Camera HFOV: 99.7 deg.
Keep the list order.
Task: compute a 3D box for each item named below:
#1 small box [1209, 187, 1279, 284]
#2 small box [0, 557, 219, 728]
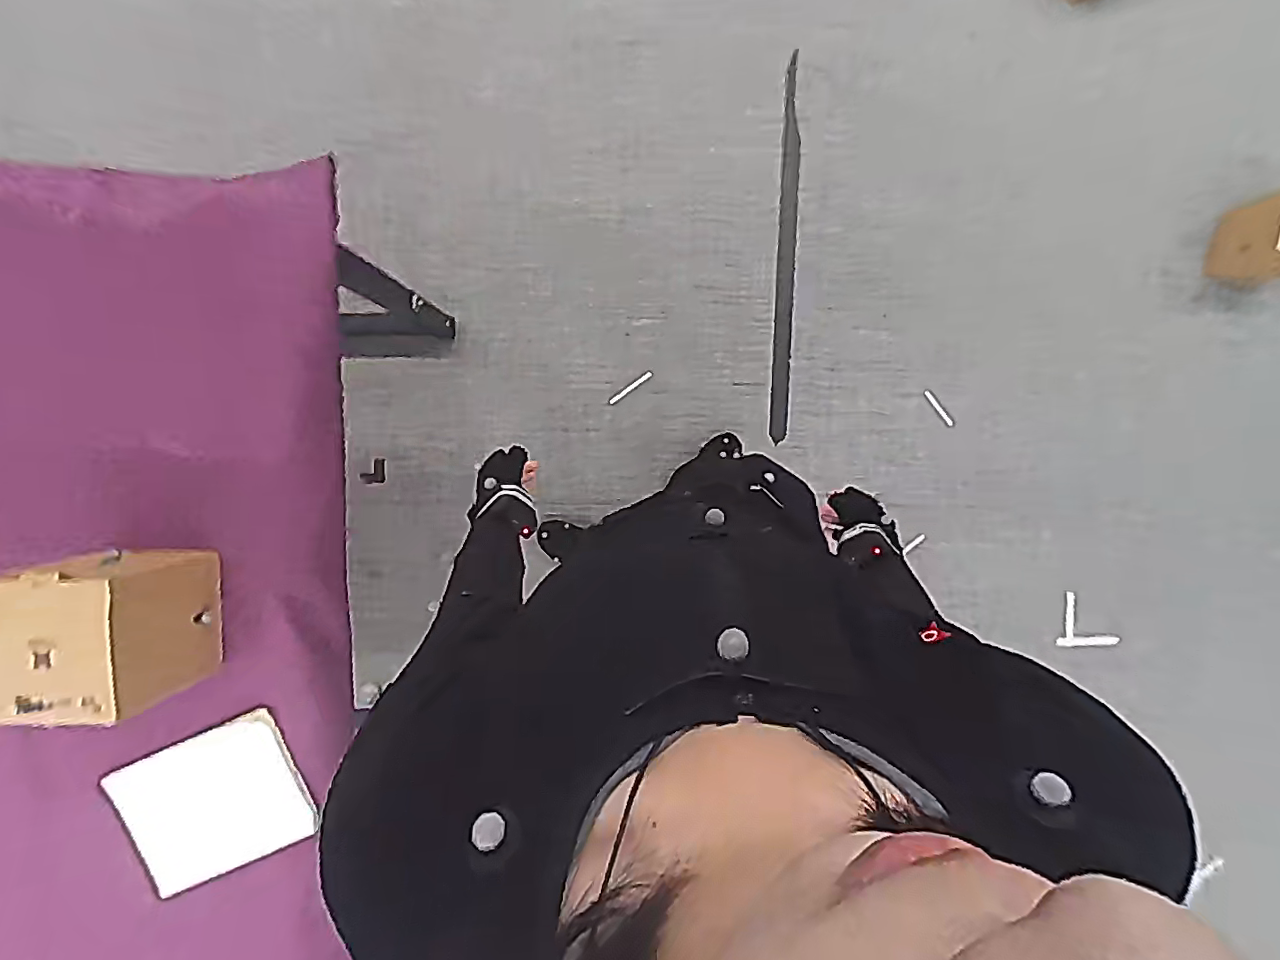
[{"bbox_3d":[1.650,-0.630,1.399,0.168,0.176,0.179,13,92,-2],"label":"small box"},{"bbox_3d":[-0.689,0.197,0.701,0.168,0.176,0.179,0,92,0],"label":"small box"}]
